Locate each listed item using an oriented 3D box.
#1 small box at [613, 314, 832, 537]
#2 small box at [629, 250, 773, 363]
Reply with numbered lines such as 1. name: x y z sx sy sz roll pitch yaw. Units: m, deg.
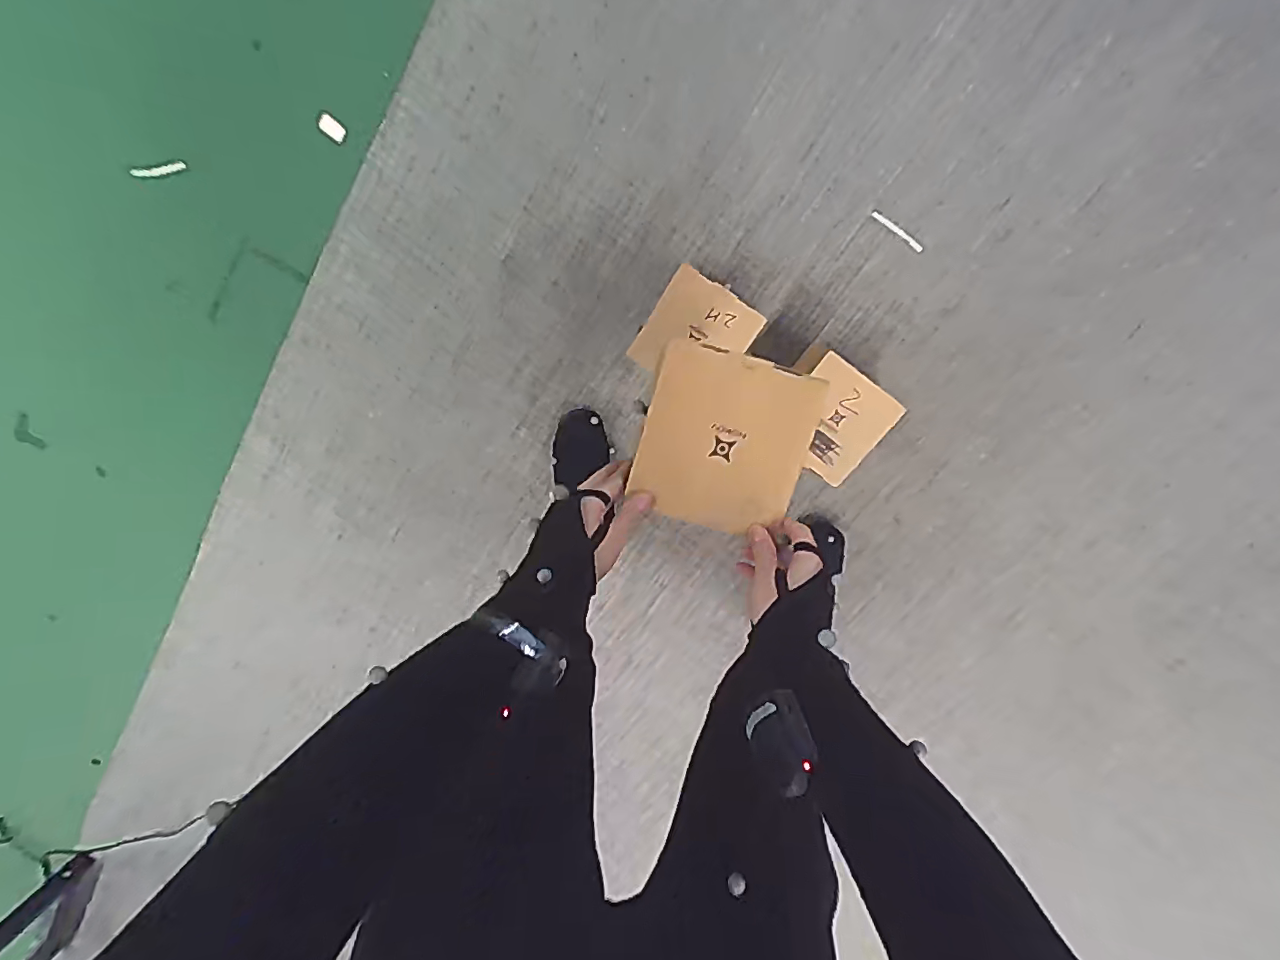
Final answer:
1. small box: 0.080 -0.064 0.597 0.168 0.176 0.179 19 101 -3
2. small box: 0.105 -0.266 0.934 0.168 0.176 0.179 34 108 -5
